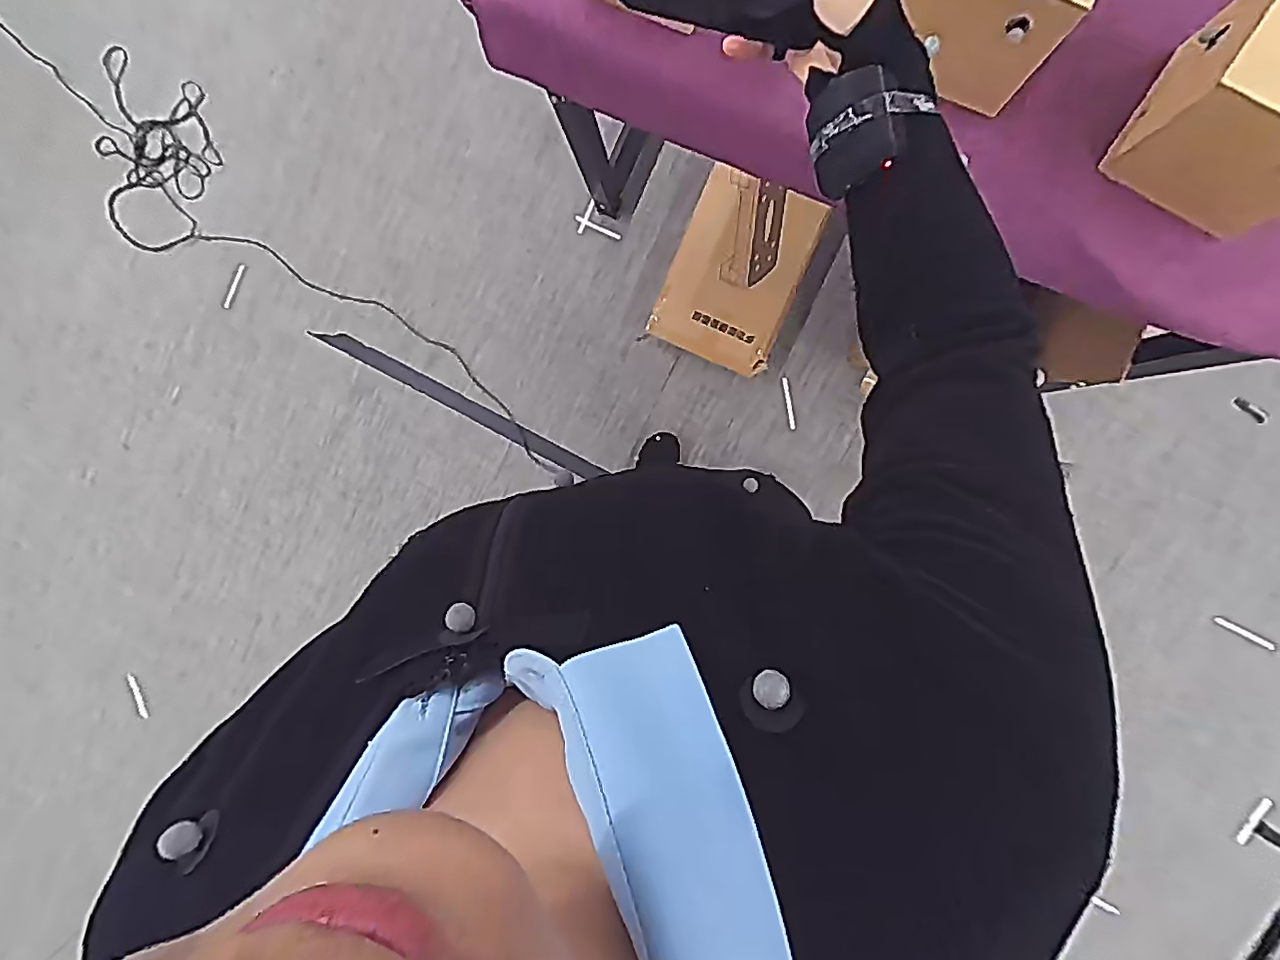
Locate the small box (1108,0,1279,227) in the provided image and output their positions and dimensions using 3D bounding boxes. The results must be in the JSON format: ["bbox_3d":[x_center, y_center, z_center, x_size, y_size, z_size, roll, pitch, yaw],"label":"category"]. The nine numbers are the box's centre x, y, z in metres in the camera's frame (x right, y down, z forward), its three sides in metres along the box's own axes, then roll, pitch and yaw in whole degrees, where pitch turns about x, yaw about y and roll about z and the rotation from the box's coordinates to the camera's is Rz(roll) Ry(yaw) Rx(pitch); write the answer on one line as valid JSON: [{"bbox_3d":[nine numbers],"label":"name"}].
[{"bbox_3d":[0.672,-0.405,0.575,0.179,0.176,0.168,32,96,3],"label":"small box"}]

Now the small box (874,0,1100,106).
[{"bbox_3d":[0.394,-0.559,0.592,0.179,0.176,0.168,25,93,4],"label":"small box"}]
